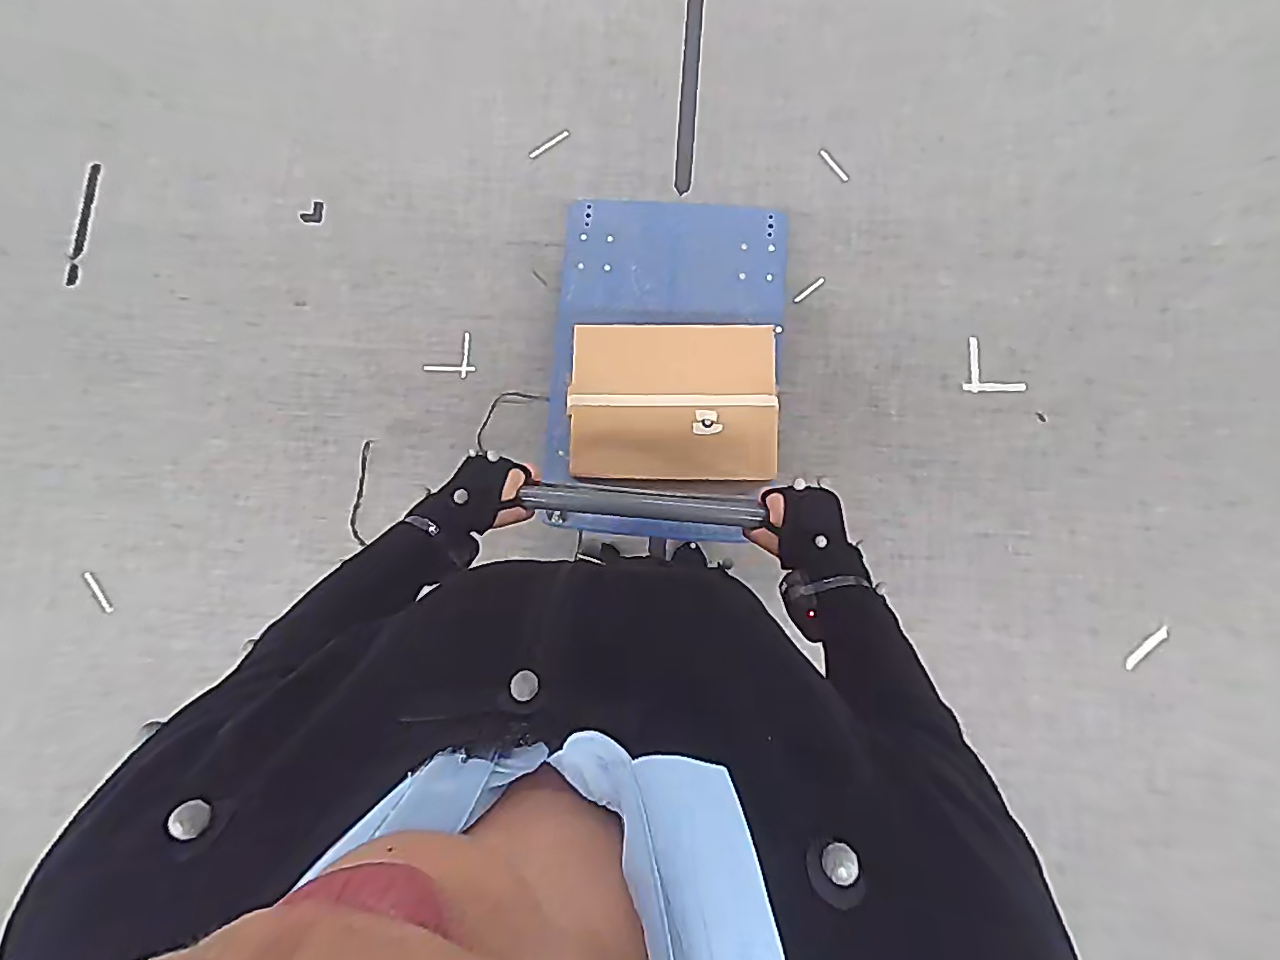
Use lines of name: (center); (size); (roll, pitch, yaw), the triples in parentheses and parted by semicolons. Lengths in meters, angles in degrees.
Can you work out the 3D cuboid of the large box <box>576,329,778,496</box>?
large box: (0.072, -0.133, 1.221); (0.408, 0.320, 0.320); (0, 84, 1)
